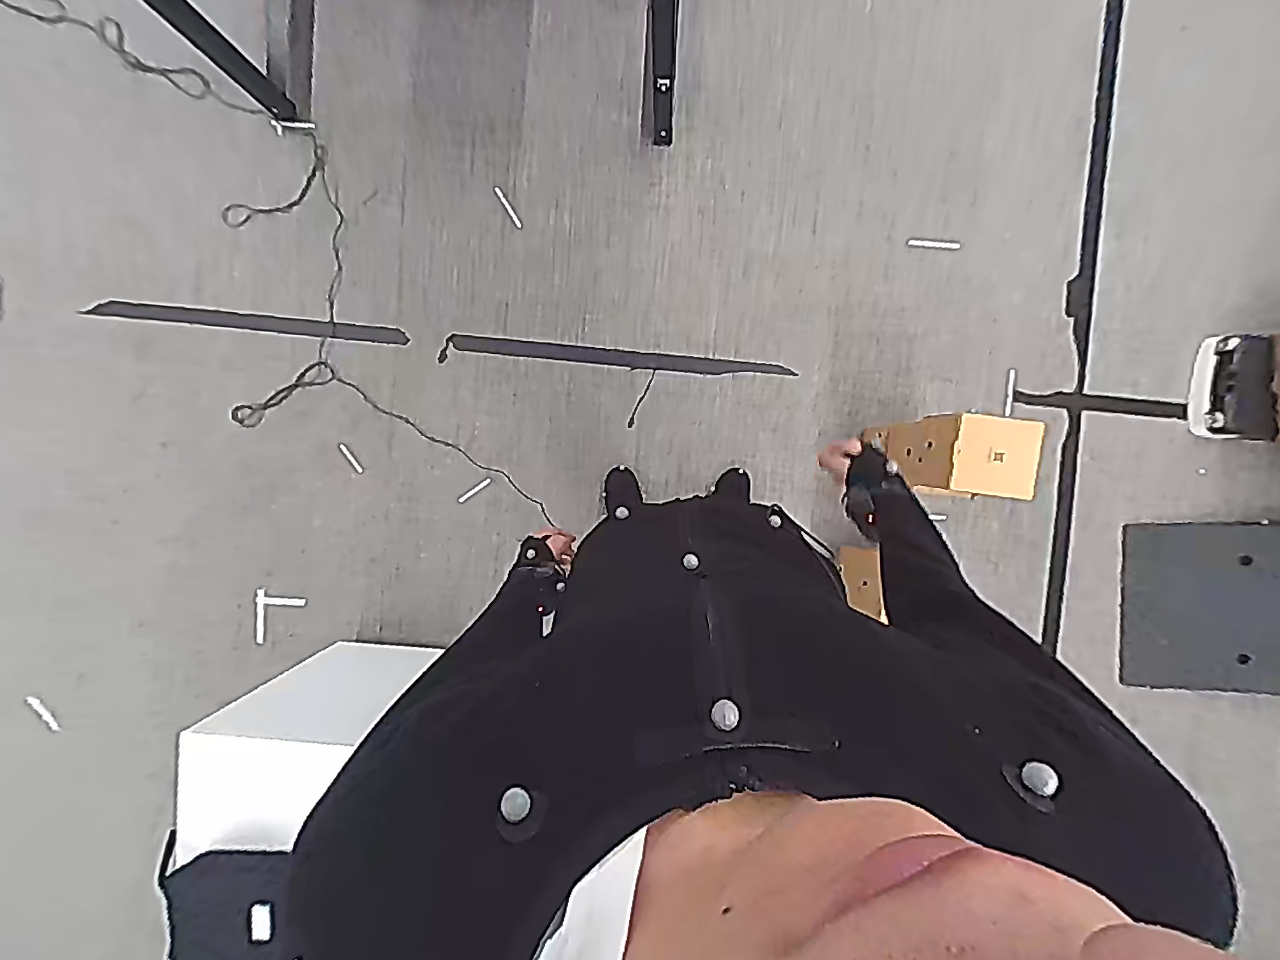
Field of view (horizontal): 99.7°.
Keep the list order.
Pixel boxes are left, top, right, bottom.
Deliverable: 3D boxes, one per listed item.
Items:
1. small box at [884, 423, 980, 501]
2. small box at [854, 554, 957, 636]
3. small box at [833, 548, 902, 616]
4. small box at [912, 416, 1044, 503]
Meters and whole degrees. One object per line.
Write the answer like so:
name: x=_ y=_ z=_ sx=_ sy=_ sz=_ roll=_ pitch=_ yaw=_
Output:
small box: x=0.741 y=-0.046 z=1.369 sx=0.168 sy=0.176 sz=0.179 roll=5 pitch=94 yaw=1
small box: x=0.674 y=0.287 z=1.389 sx=0.179 sy=0.176 sz=0.168 roll=5 pitch=92 yaw=2
small box: x=0.676 y=0.292 z=1.554 sx=0.179 sy=0.176 sz=0.168 roll=3 pitch=91 yaw=2
small box: x=0.744 y=-0.048 z=1.206 sx=0.179 sy=0.176 sz=0.168 roll=7 pitch=93 yaw=2
